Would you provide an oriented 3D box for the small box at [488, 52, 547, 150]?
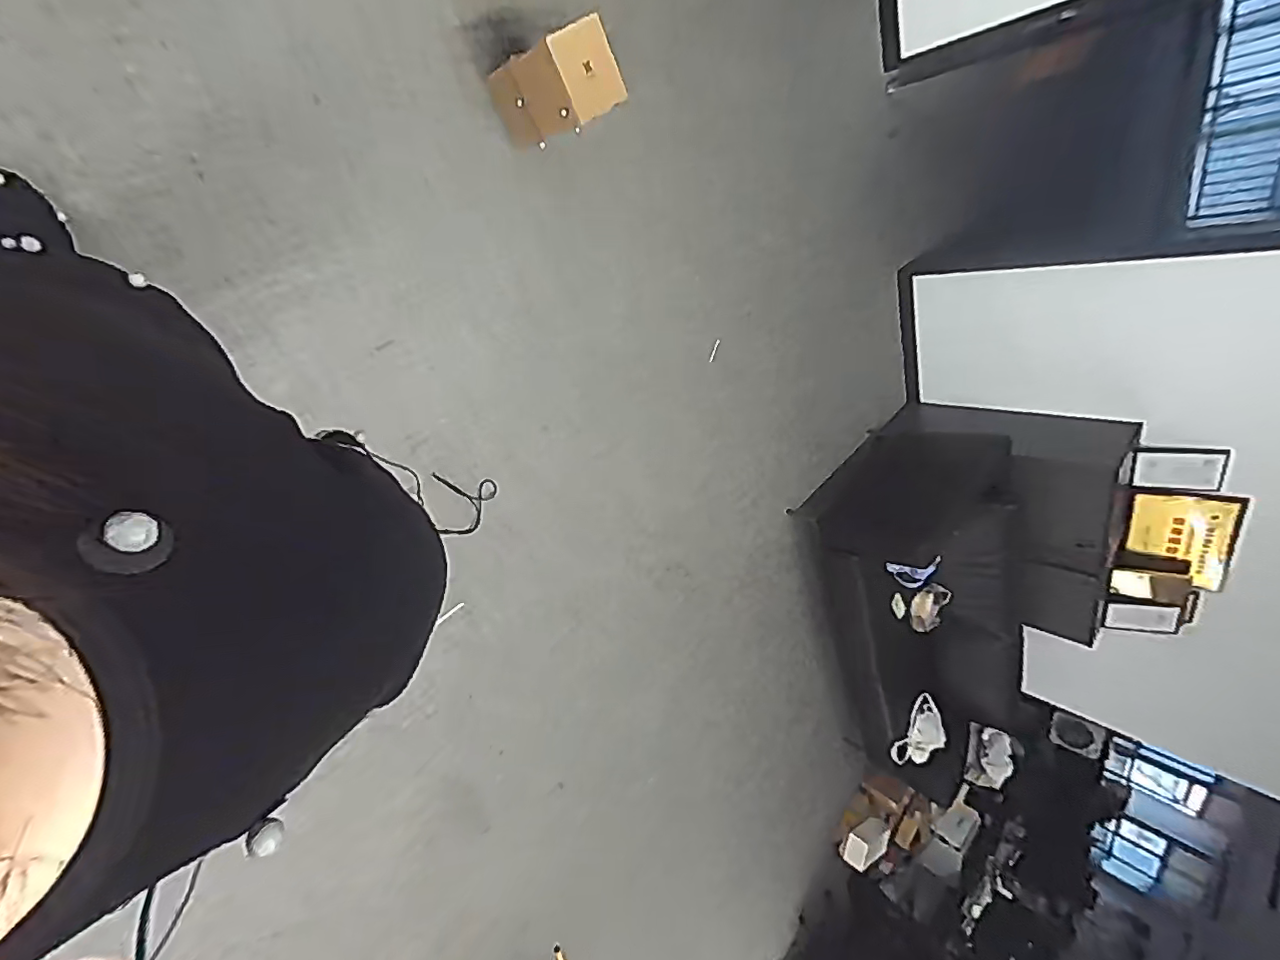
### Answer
[{"bbox_3d":[-0.266,-0.997,1.409,0.168,0.176,0.179,-40,126,-24],"label":"small box"}]

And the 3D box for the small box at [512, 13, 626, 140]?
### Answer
[{"bbox_3d":[-0.172,-0.949,1.284,0.168,0.176,0.179,-45,128,-22],"label":"small box"}]
